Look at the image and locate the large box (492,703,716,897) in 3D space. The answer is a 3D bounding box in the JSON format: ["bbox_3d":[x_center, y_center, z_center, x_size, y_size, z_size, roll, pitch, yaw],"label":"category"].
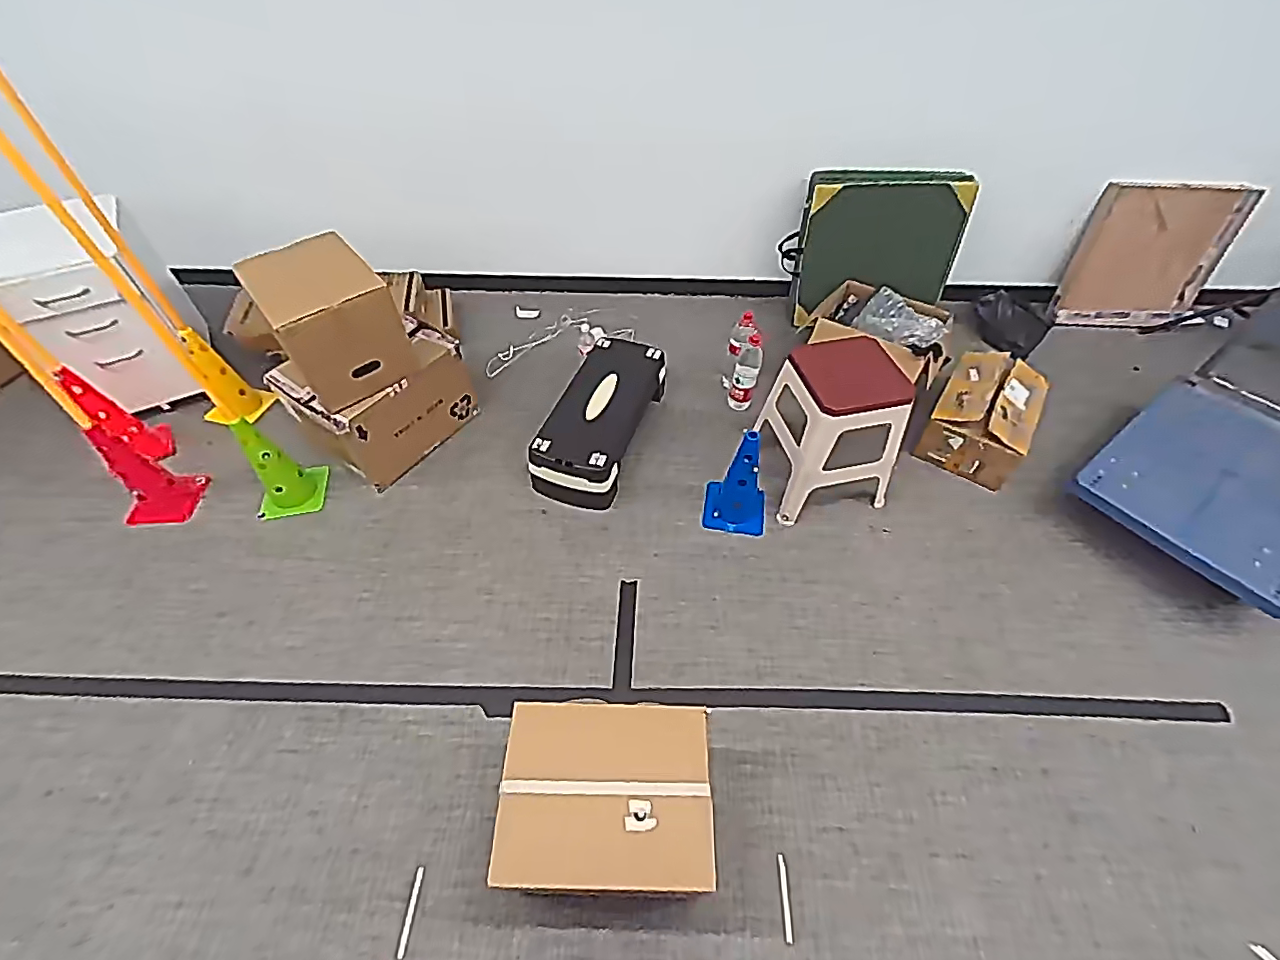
[{"bbox_3d":[-0.068,0.687,1.153,0.408,0.320,0.320,2,51,-1],"label":"large box"}]
